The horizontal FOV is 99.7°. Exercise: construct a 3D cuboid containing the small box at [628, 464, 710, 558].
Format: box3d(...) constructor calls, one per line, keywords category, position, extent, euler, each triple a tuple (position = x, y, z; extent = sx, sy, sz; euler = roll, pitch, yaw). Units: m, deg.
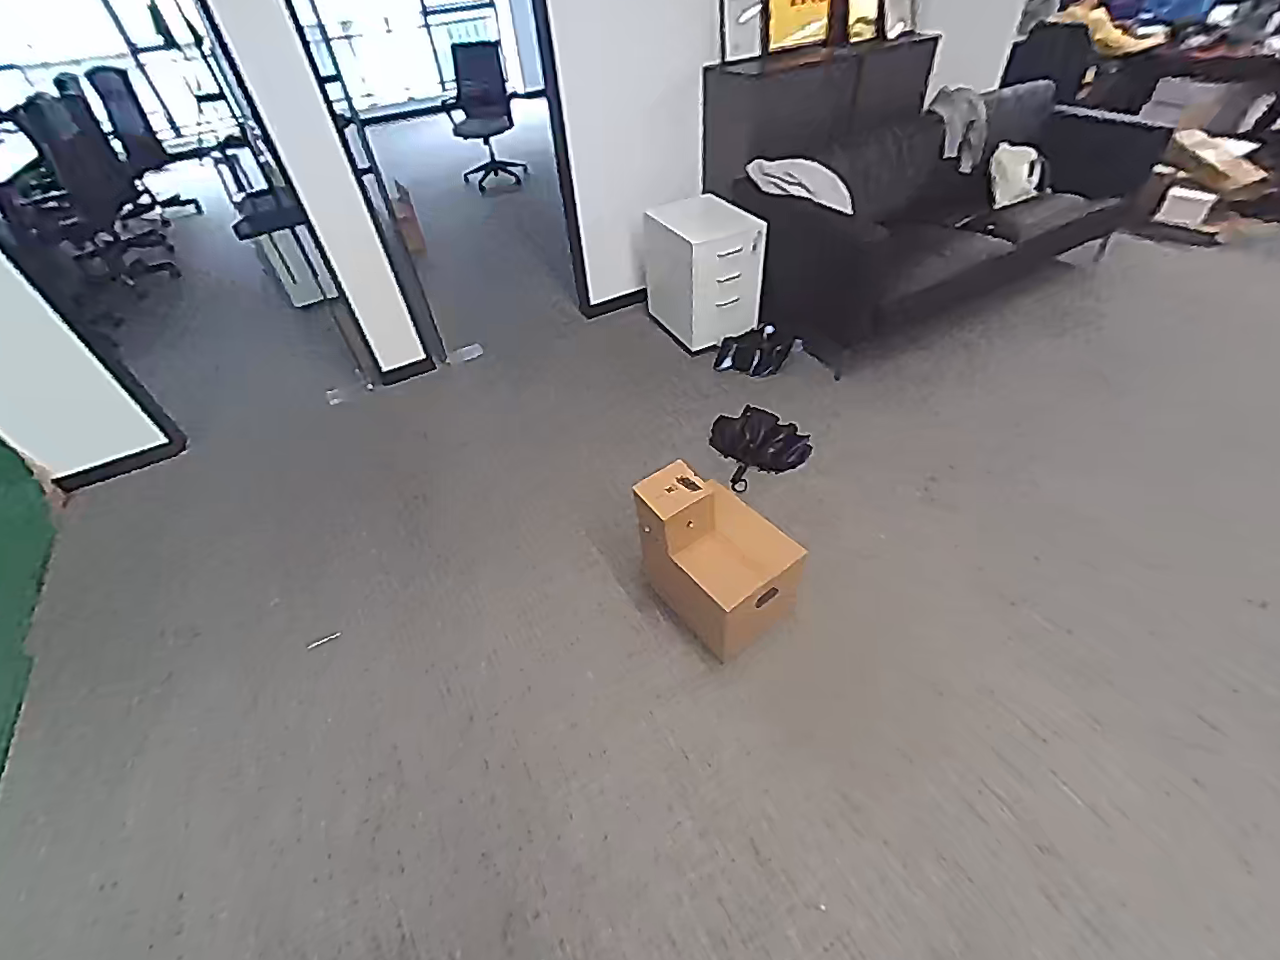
box3d(category="small box", position=(0.086, 0.091, 1.570), extent=(0.179, 0.176, 0.168), euler=(-29, 49, -18))
